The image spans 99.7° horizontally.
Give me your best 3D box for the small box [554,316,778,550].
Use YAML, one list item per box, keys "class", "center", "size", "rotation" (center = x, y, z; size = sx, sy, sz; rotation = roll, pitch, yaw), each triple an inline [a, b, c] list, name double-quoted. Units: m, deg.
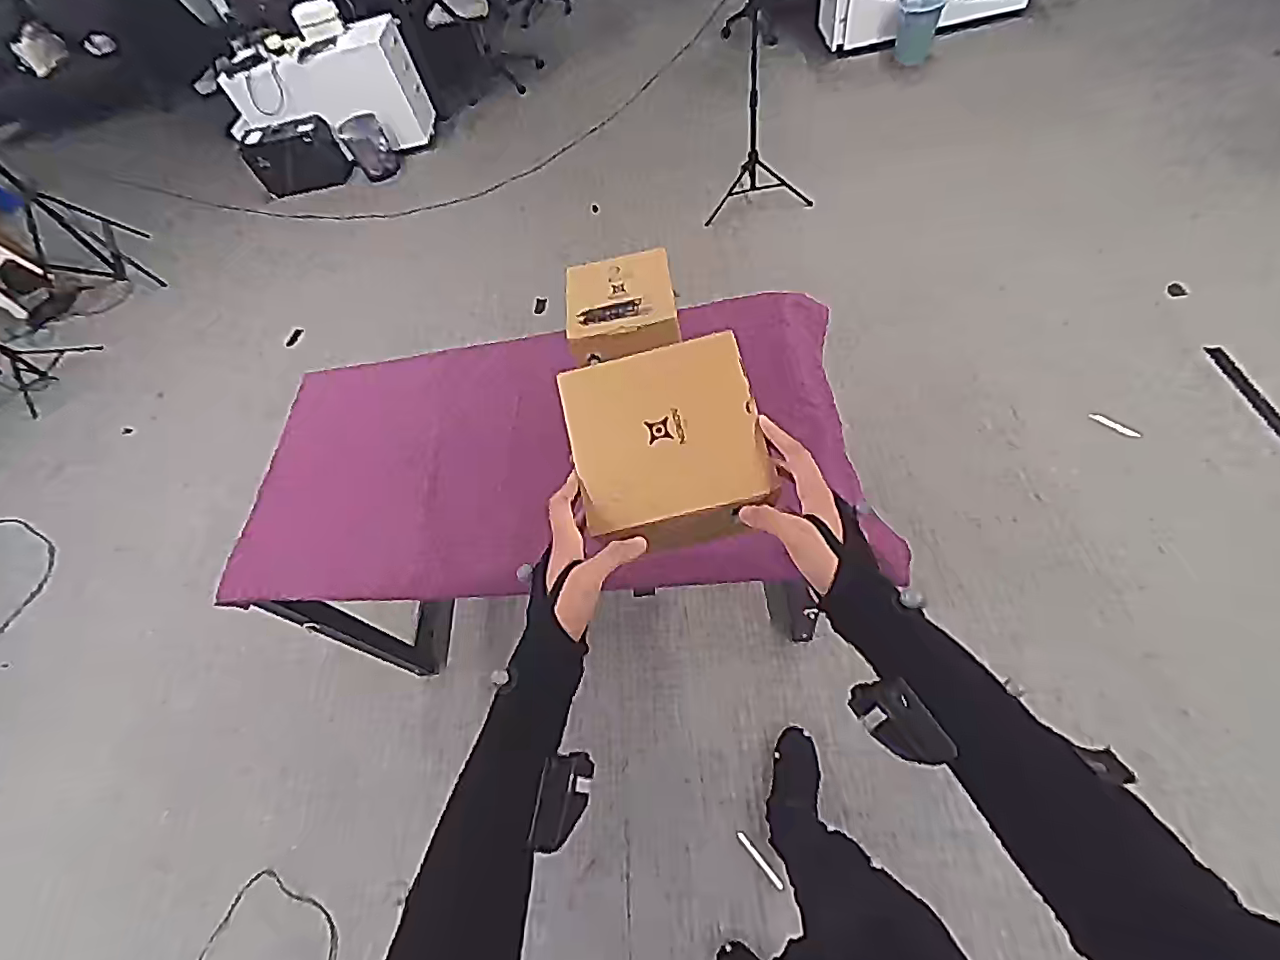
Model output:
- class: "small box"
  center: [0.027, -0.035, 0.560]
  size: [0.179, 0.176, 0.168]
  rotation: [-14, 72, 1]
